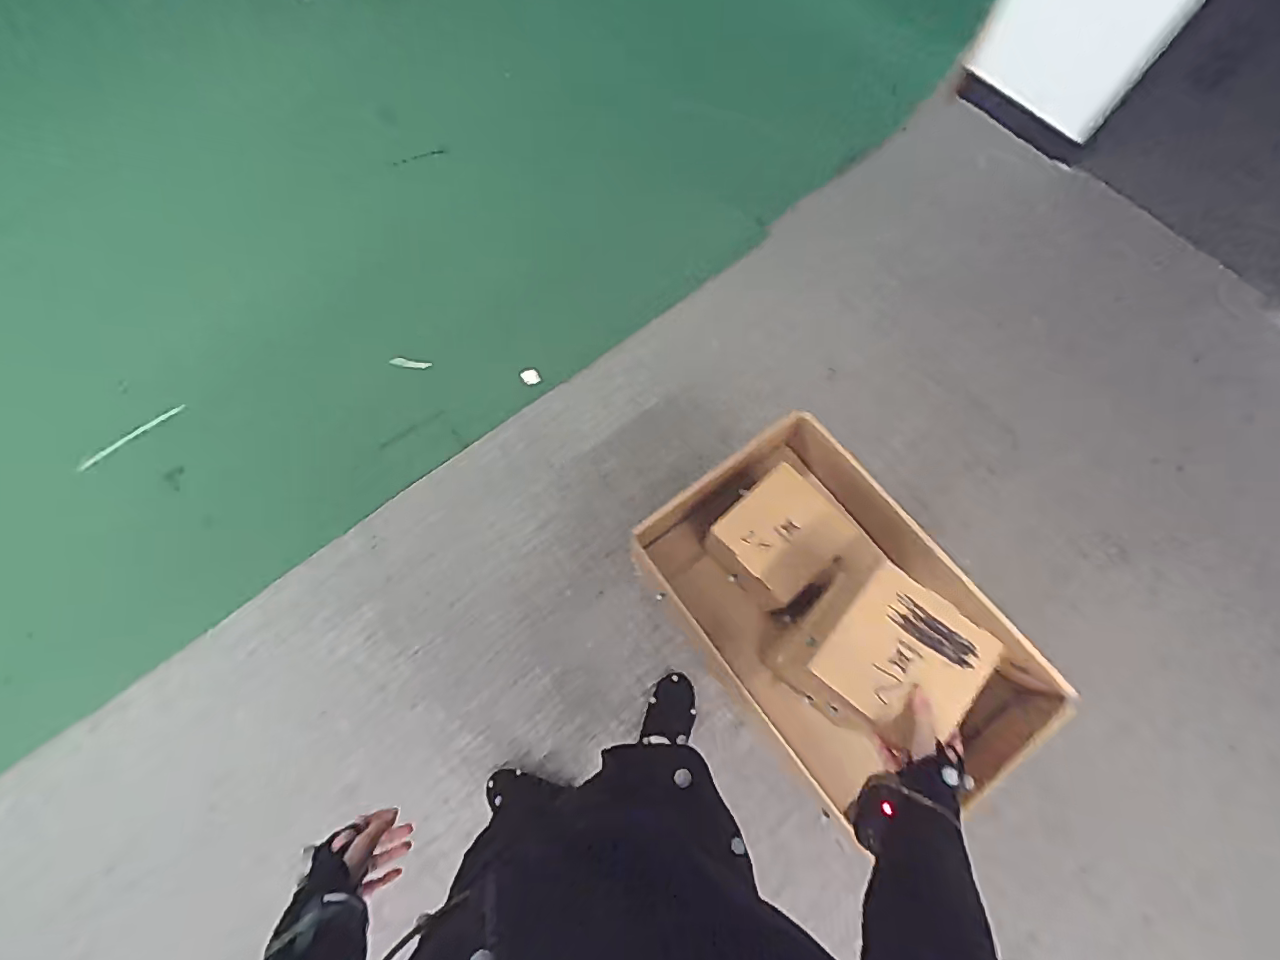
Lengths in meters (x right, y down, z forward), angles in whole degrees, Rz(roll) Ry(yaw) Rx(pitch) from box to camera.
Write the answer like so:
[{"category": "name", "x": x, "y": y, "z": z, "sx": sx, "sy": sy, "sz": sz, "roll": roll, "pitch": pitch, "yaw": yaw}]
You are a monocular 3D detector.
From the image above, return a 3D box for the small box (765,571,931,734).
[{"category": "small box", "x": 0.321, "y": 0.277, "z": 0.877, "sx": 0.168, "sy": 0.176, "sz": 0.179, "roll": 39, "pitch": 77, "yaw": 14}]

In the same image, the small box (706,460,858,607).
[{"category": "small box", "x": 0.232, "y": 0.099, "z": 0.936, "sx": 0.179, "sy": 0.176, "sz": 0.168, "roll": -39, "pitch": 76, "yaw": -11}]
